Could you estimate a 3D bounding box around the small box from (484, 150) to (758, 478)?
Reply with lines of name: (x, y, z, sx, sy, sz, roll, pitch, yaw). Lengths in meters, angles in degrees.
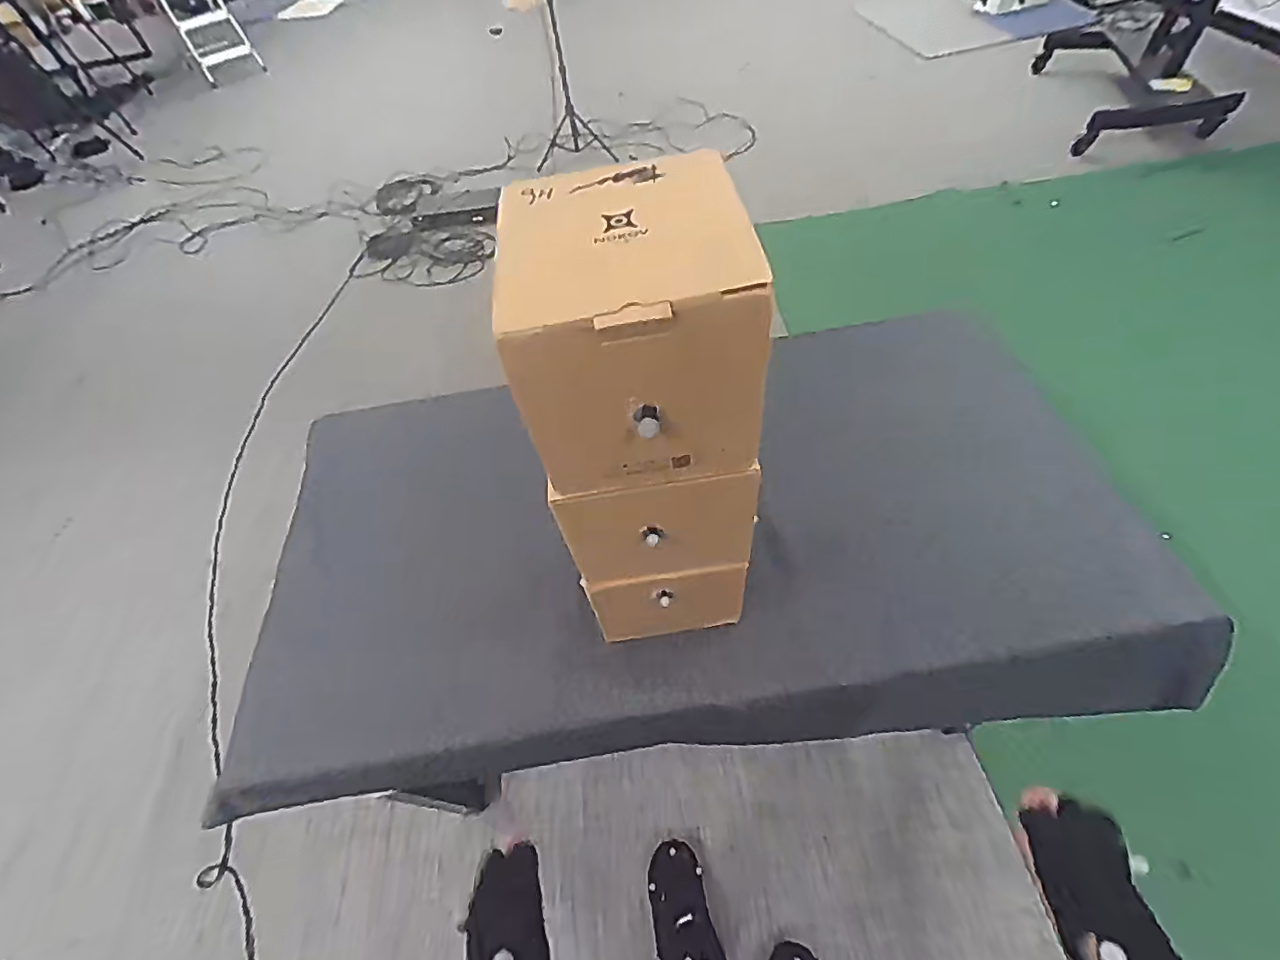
small box: (-0.009, -0.115, 0.421, 0.168, 0.176, 0.179, -8, 56, 2)

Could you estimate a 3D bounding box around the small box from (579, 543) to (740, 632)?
small box: (0.021, 0.080, 0.682, 0.179, 0.176, 0.168, -8, 55, 0)

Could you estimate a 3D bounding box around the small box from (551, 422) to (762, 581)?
small box: (0.009, -0.015, 0.549, 0.179, 0.176, 0.168, -10, 56, -1)
